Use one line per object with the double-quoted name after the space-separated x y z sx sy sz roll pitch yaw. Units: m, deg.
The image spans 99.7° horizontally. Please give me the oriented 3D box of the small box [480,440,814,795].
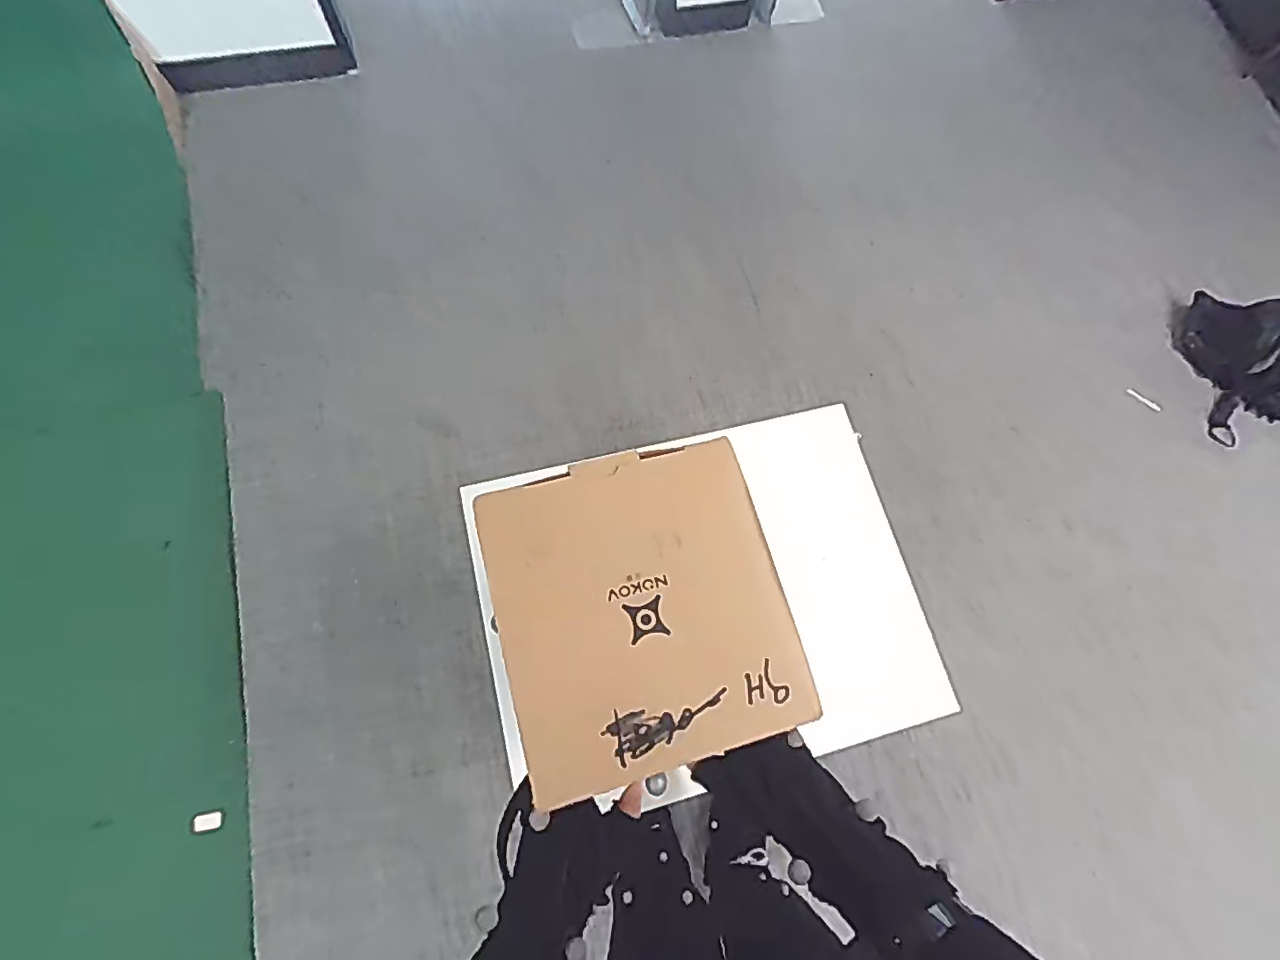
-0.006 0.095 0.396 0.168 0.176 0.179 -14 74 -8 "small box"
